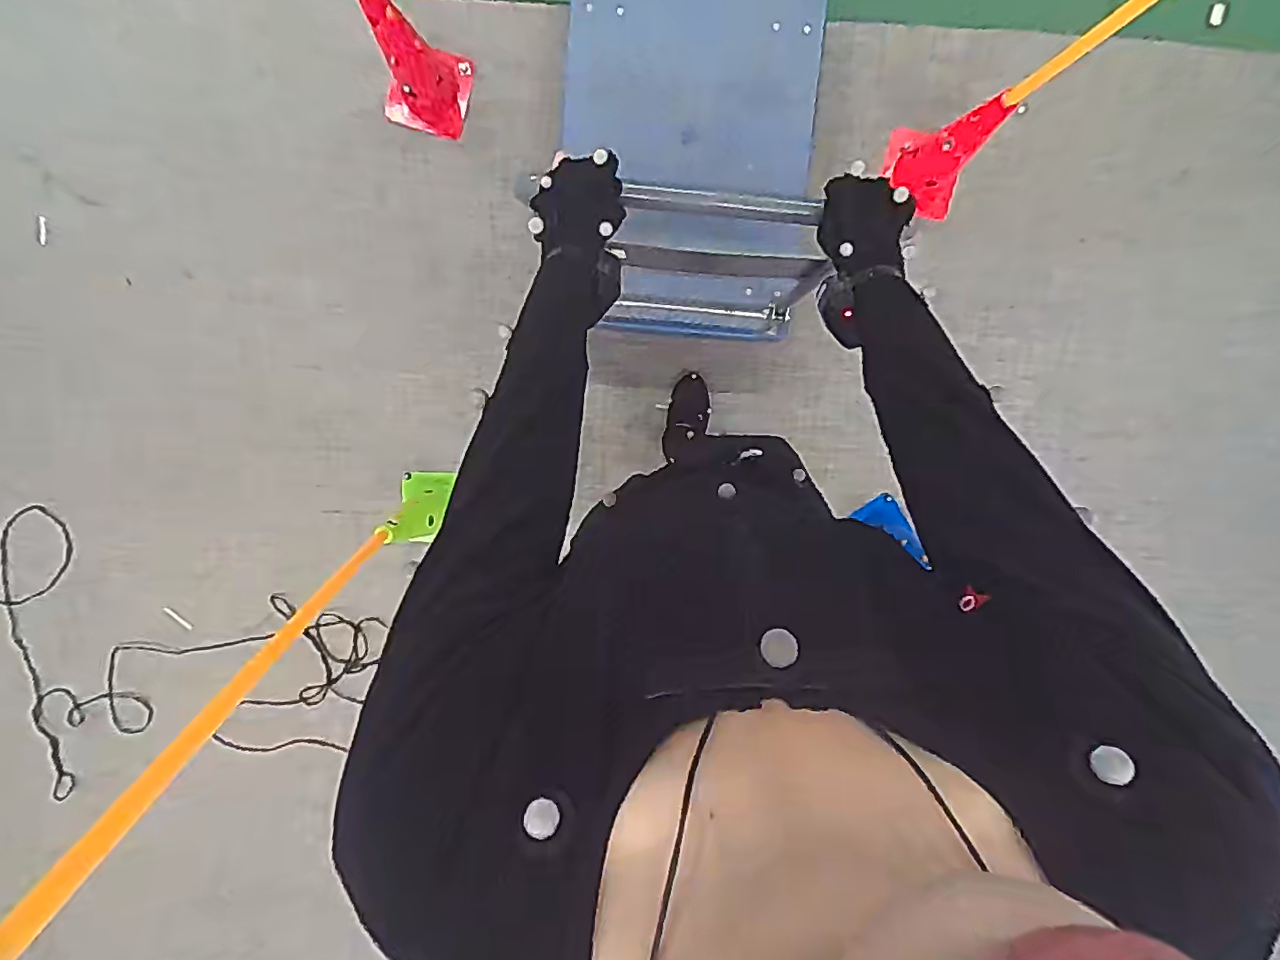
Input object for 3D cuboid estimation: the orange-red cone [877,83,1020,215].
[{"bbox_3d":[0.736,-0.789,1.245,0.198,0.360,0.199,14,97,-2],"label":"orange-red cone"}]
